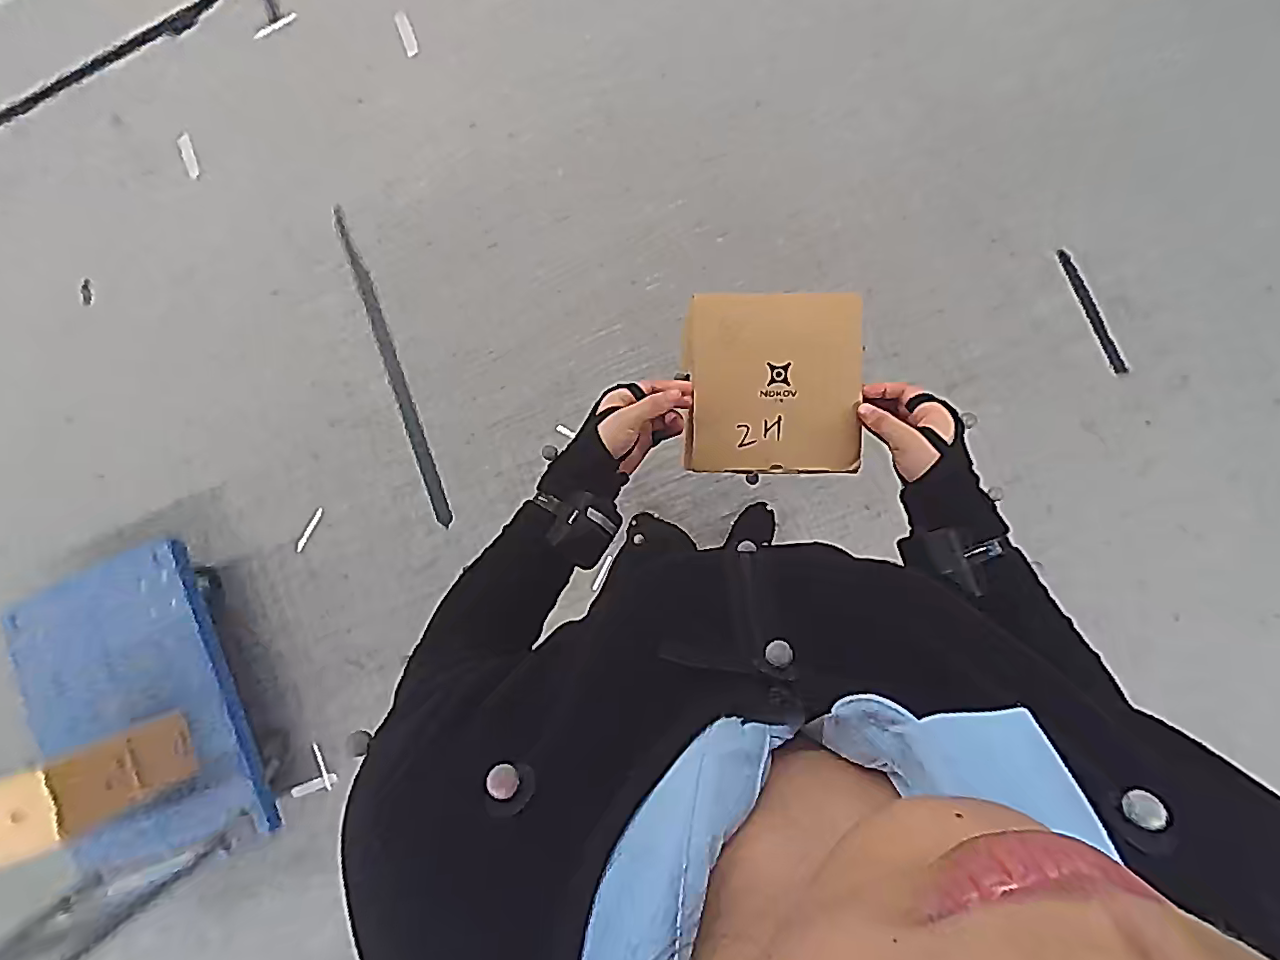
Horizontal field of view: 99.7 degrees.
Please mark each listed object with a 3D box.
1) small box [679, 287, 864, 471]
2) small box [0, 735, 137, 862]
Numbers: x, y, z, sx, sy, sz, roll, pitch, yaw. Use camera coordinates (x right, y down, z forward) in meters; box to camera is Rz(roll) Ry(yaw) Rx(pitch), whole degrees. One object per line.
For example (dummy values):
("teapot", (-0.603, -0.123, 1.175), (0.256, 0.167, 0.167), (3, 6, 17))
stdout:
("small box", (0.131, -0.098, 0.596), (0.168, 0.176, 0.179), (-1, 92, 0))
("small box", (-1.292, 0.701, 1.203), (0.179, 0.176, 0.168), (-21, 86, 4))
